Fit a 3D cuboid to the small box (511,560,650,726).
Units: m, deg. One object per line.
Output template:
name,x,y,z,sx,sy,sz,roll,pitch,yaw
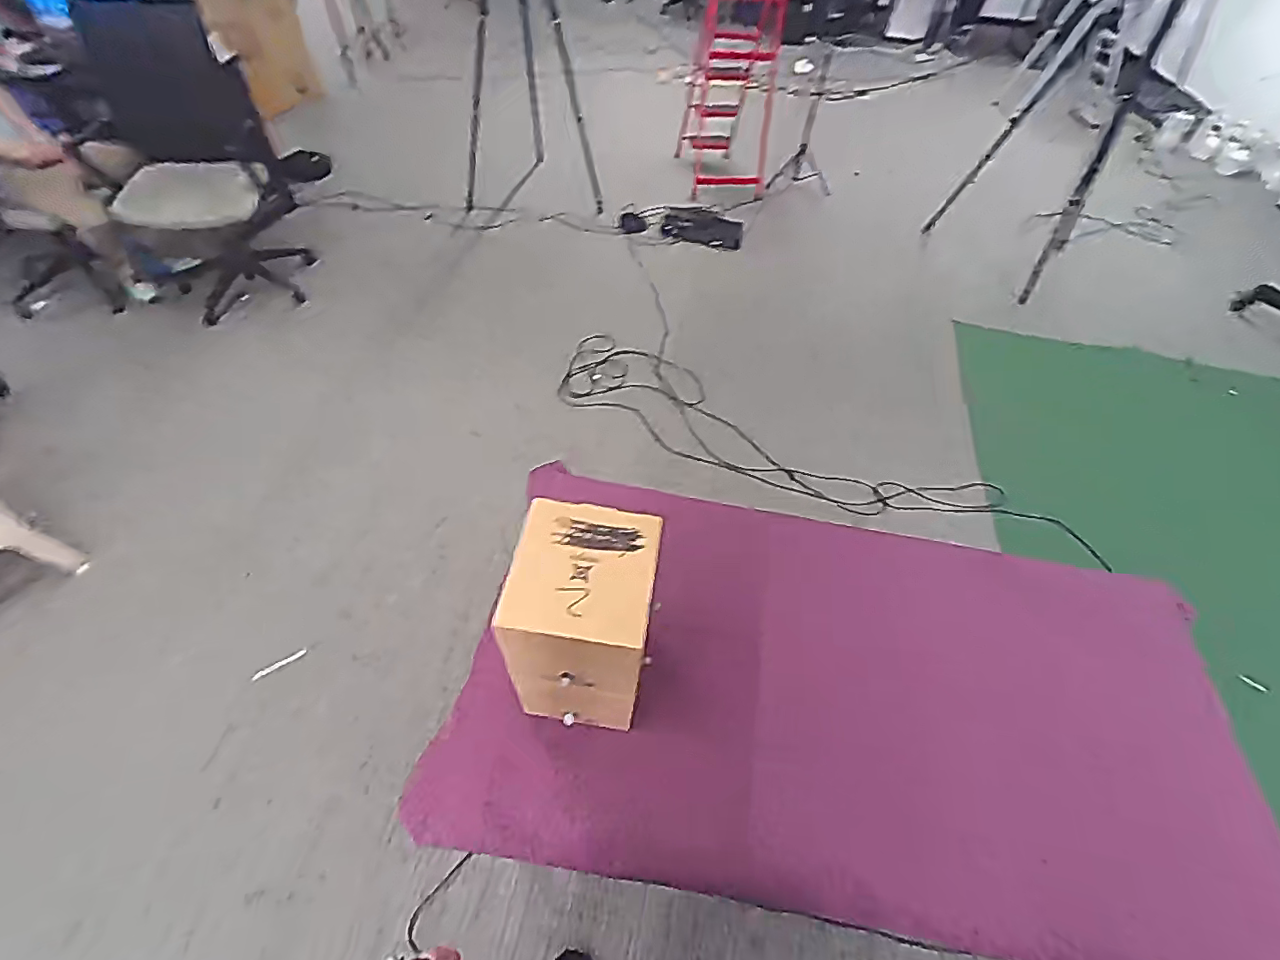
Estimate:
small box,-0.083,0.249,0.816,0.168,0.176,0.179,9,52,2
